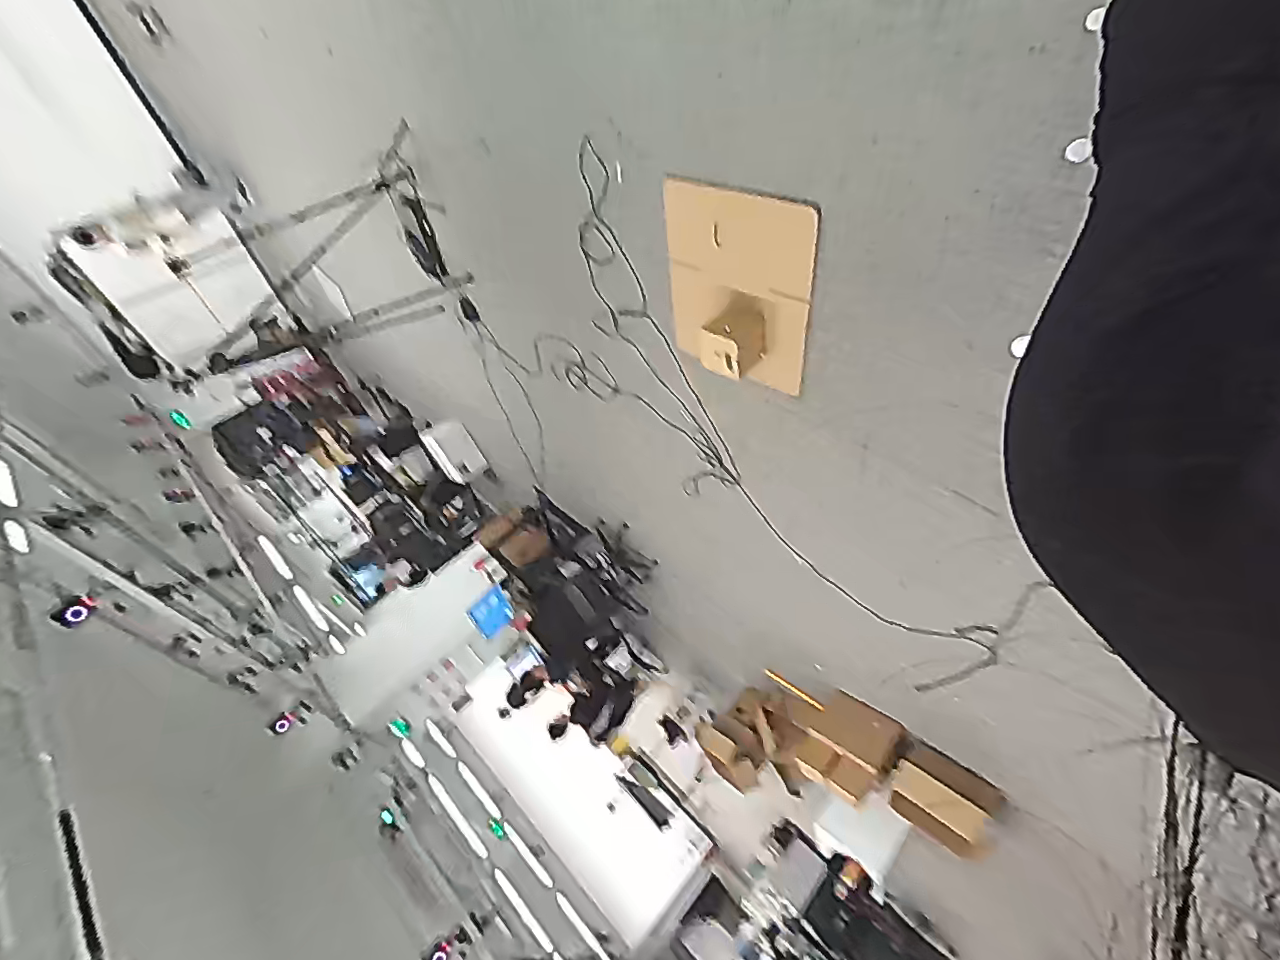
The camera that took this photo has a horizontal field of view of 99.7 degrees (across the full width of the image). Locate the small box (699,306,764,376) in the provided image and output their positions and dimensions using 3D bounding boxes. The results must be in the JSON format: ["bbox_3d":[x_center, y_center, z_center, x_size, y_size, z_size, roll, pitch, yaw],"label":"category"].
[{"bbox_3d":[0.339,-0.513,1.978,0.179,0.176,0.168,31,150,34],"label":"small box"}]
